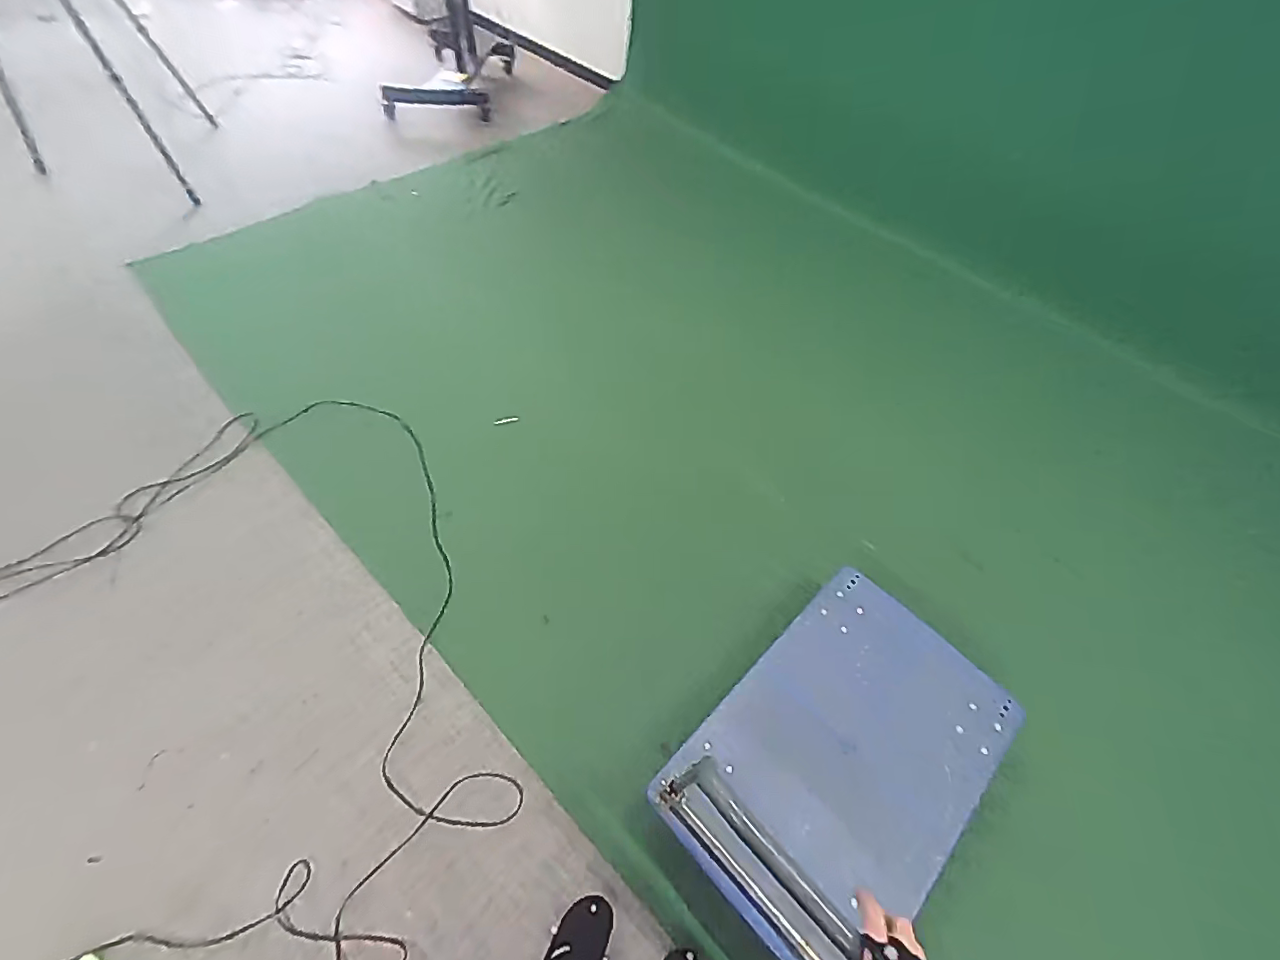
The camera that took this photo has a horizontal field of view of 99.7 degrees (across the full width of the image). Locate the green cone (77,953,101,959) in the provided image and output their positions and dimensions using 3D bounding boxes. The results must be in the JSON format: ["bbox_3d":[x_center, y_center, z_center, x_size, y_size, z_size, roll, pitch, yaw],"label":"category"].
[{"bbox_3d":[-1.138,1.003,0.926,0.202,0.368,0.200,36,60,20],"label":"green cone"}]
